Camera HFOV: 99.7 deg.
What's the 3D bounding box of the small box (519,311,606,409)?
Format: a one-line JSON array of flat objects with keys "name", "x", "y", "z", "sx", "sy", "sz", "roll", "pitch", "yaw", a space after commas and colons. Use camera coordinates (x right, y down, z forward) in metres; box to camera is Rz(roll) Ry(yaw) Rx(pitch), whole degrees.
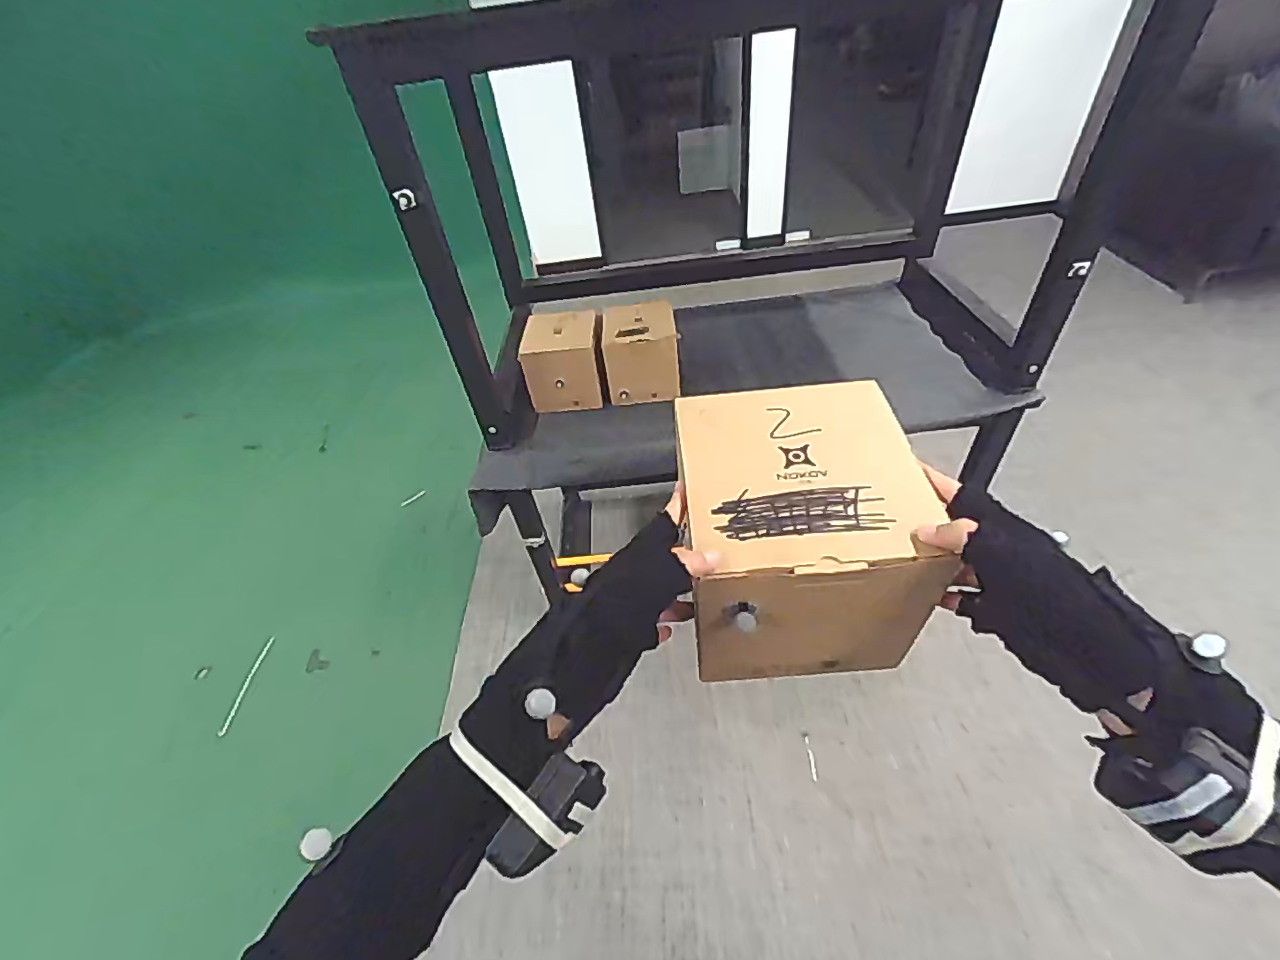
[{"name": "small box", "x": -0.175, "y": -0.280, "z": 1.287, "sx": 0.168, "sy": 0.176, "sz": 0.179, "roll": -3, "pitch": 43, "yaw": 4}]
